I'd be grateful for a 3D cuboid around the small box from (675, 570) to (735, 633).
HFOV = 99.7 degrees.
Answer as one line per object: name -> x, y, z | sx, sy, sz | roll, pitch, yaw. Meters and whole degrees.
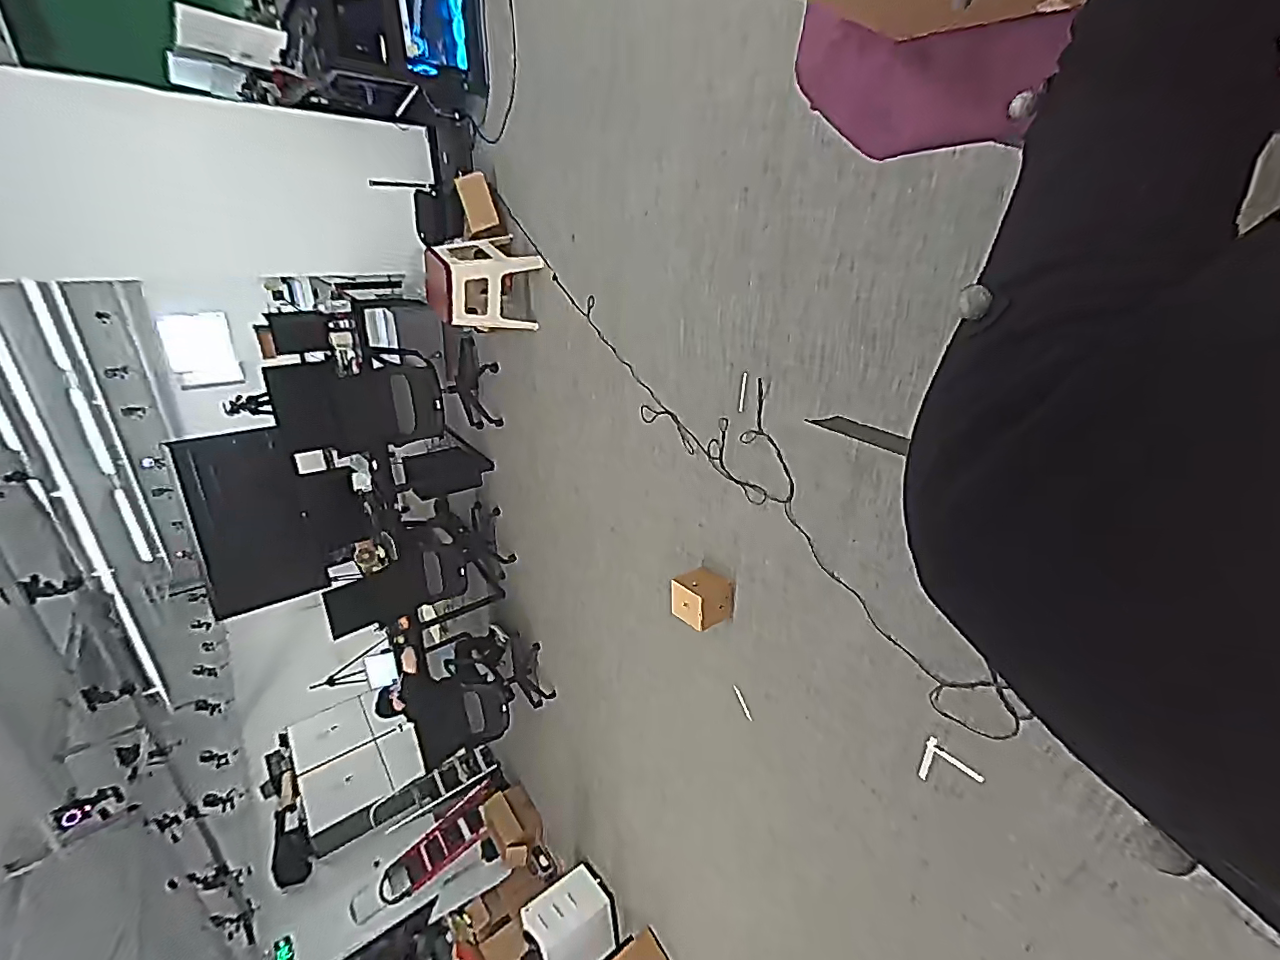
small box -> 0.261, 0.484, 2.194 | 0.179, 0.176, 0.168 | 23, 123, 48
